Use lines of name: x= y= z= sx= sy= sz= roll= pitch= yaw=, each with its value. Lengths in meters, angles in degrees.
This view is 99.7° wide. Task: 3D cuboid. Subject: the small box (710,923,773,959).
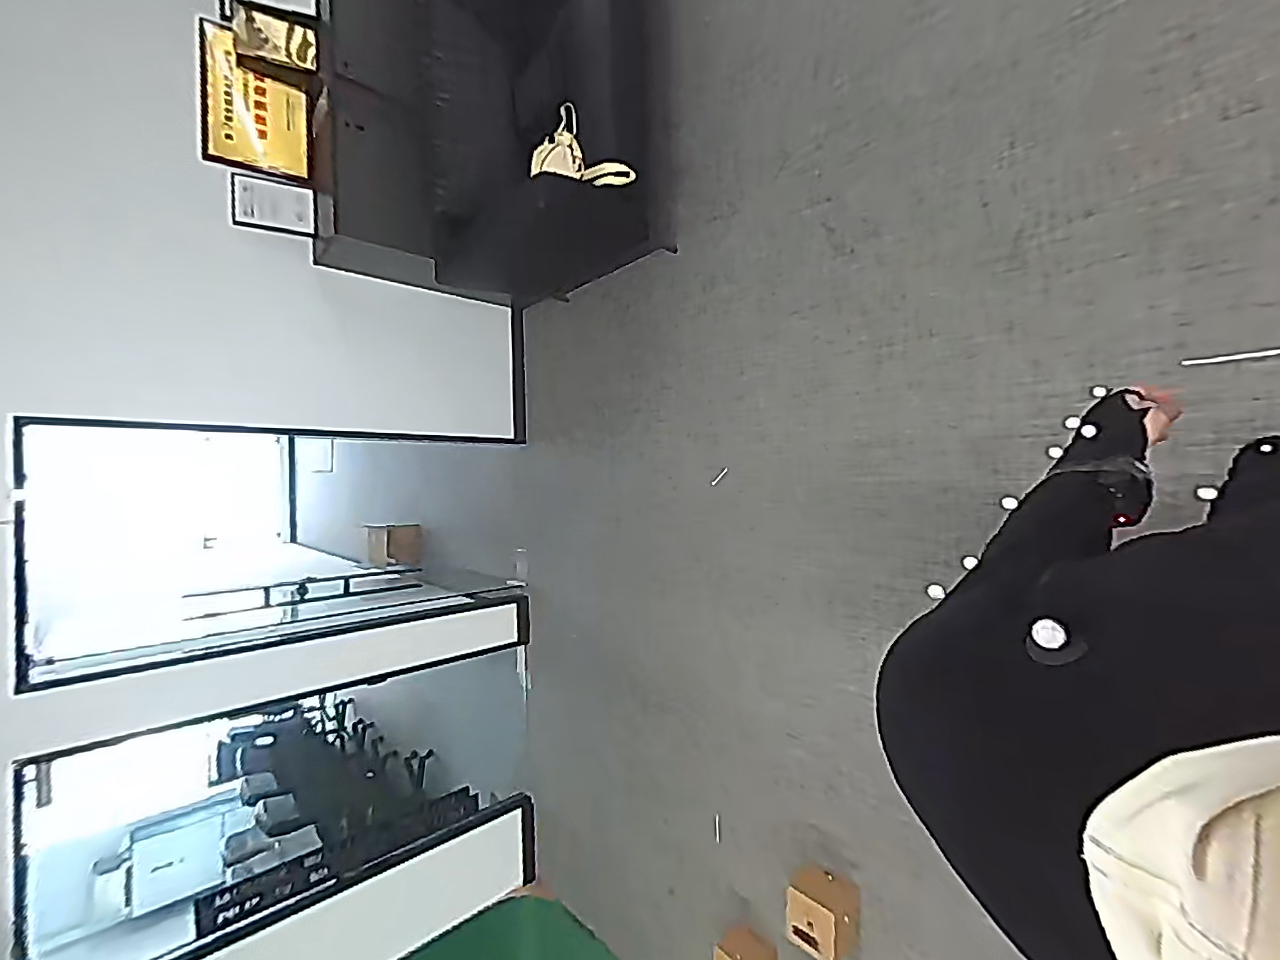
small box: x=0.370 y=1.786 z=1.968 sx=0.168 sy=0.176 sz=0.179 roll=3 pitch=93 yaw=47
